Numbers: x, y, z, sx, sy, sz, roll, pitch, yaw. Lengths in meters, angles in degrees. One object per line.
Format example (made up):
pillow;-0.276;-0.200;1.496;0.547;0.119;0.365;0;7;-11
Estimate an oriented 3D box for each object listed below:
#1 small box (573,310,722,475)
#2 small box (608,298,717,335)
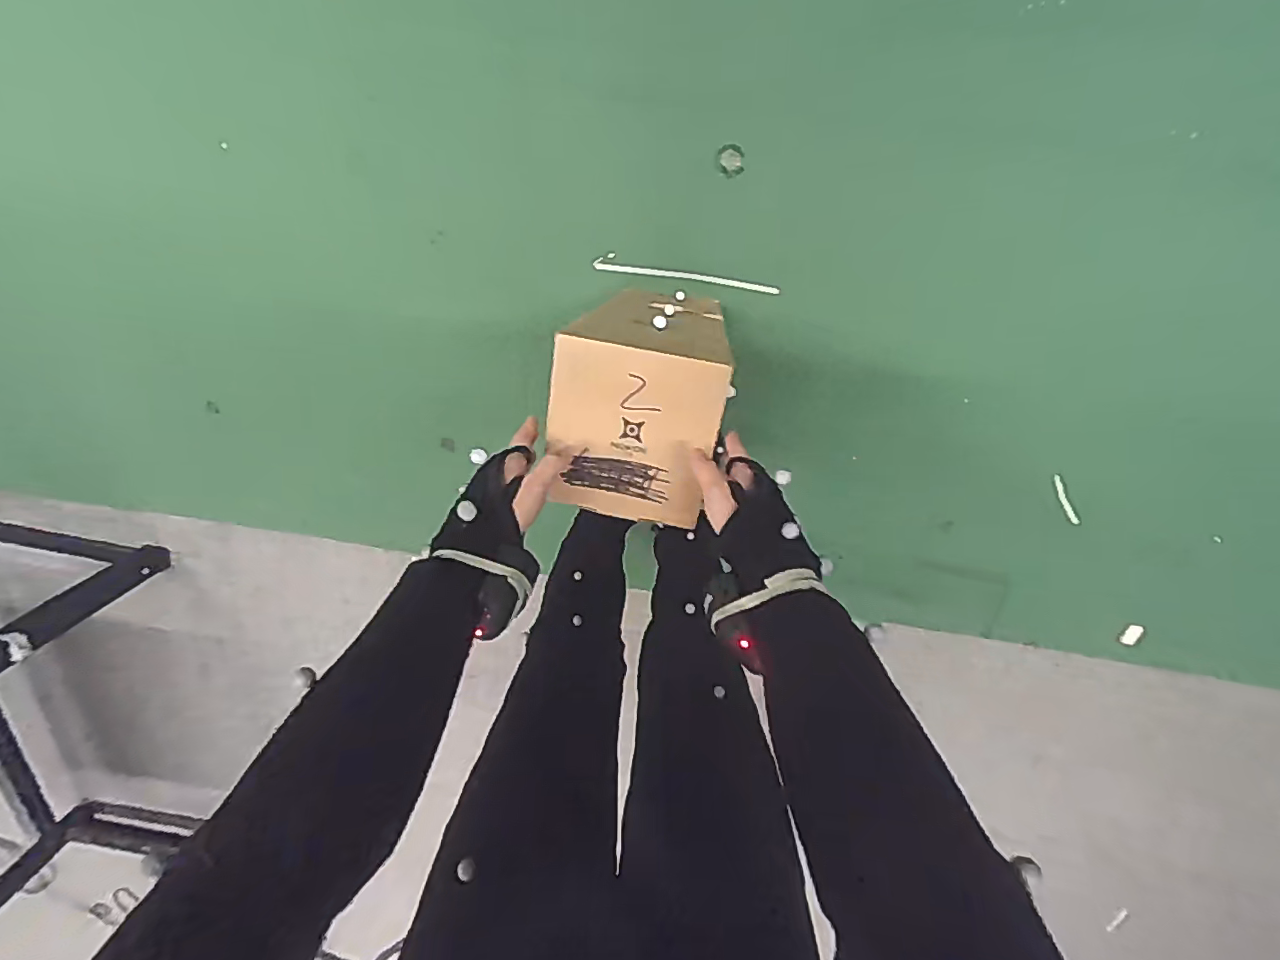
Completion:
small box;0.013;-0.130;0.751;0.168;0.176;0.179;11;115;2
small box;0.033;-0.197;0.901;0.168;0.176;0.179;8;114;3
